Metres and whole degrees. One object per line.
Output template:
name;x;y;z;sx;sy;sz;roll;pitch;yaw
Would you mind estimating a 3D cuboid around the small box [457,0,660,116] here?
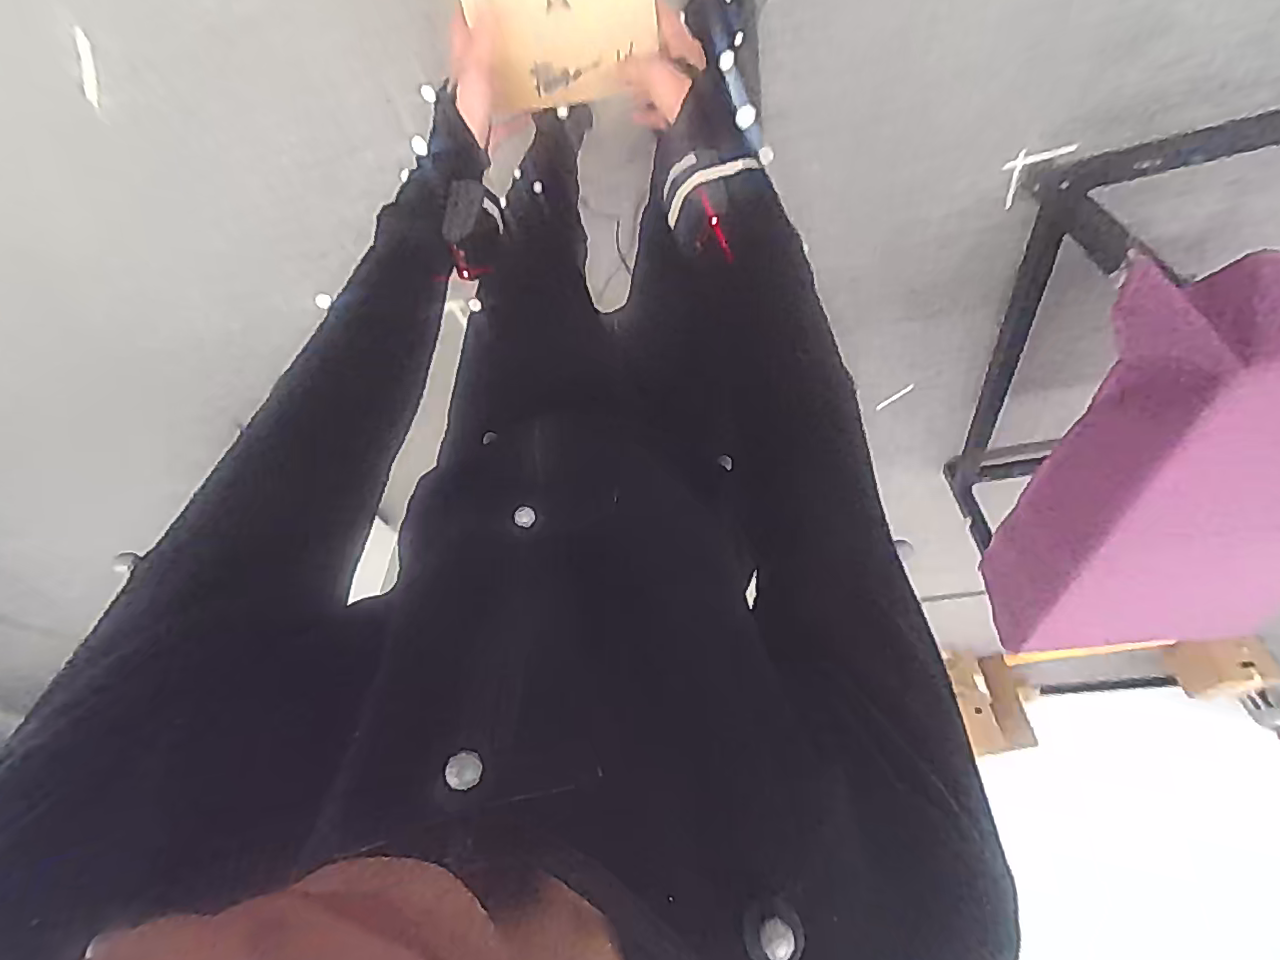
small box;-0.073;-0.466;0.497;0.168;0.176;0.179;-5;137;6
